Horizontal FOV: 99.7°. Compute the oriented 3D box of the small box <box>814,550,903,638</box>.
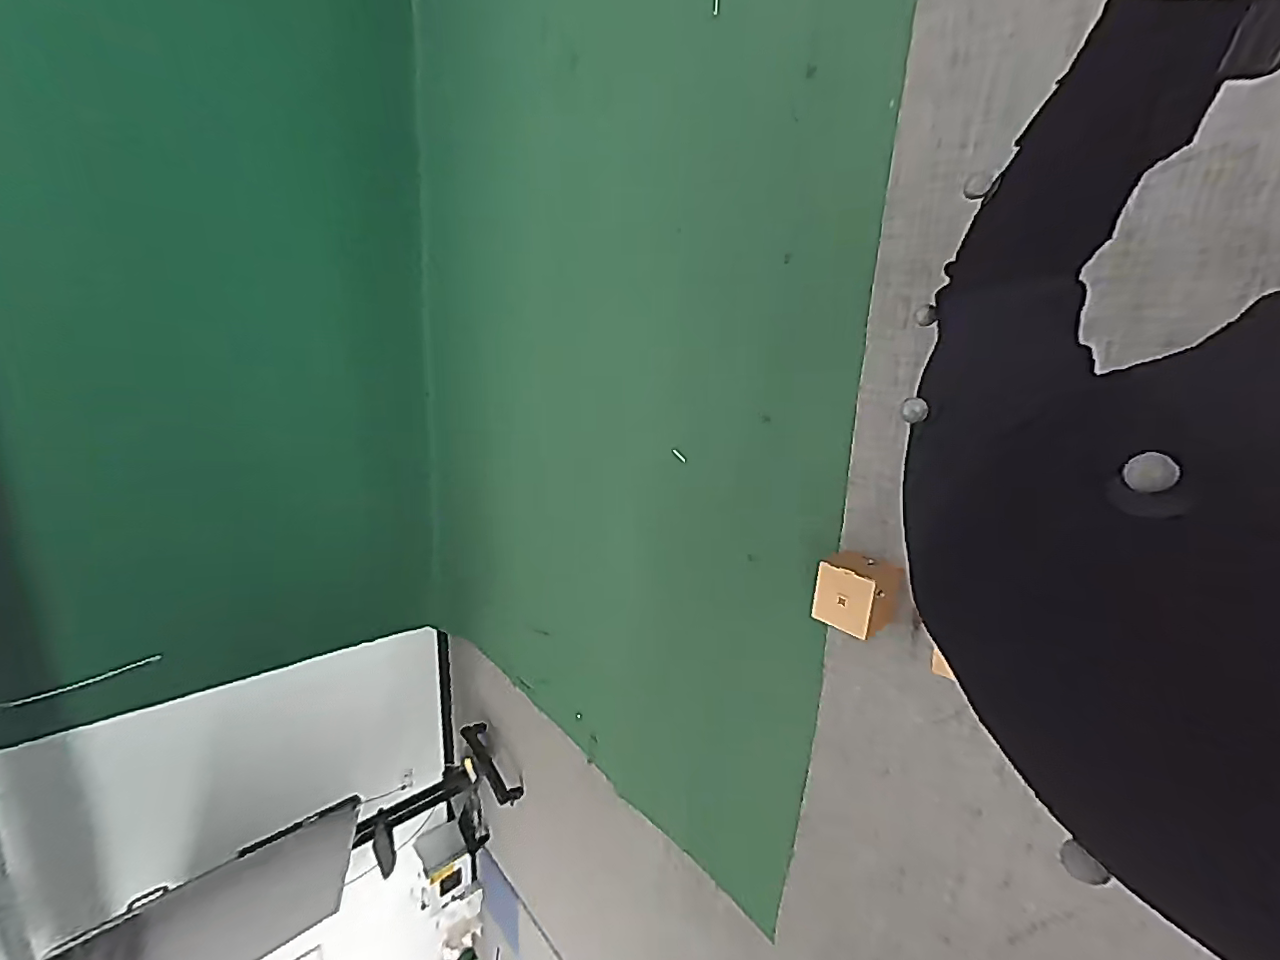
[{"bbox_3d":[0.620,0.315,1.531,0.168,0.176,0.179,18,109,45],"label":"small box"}]
